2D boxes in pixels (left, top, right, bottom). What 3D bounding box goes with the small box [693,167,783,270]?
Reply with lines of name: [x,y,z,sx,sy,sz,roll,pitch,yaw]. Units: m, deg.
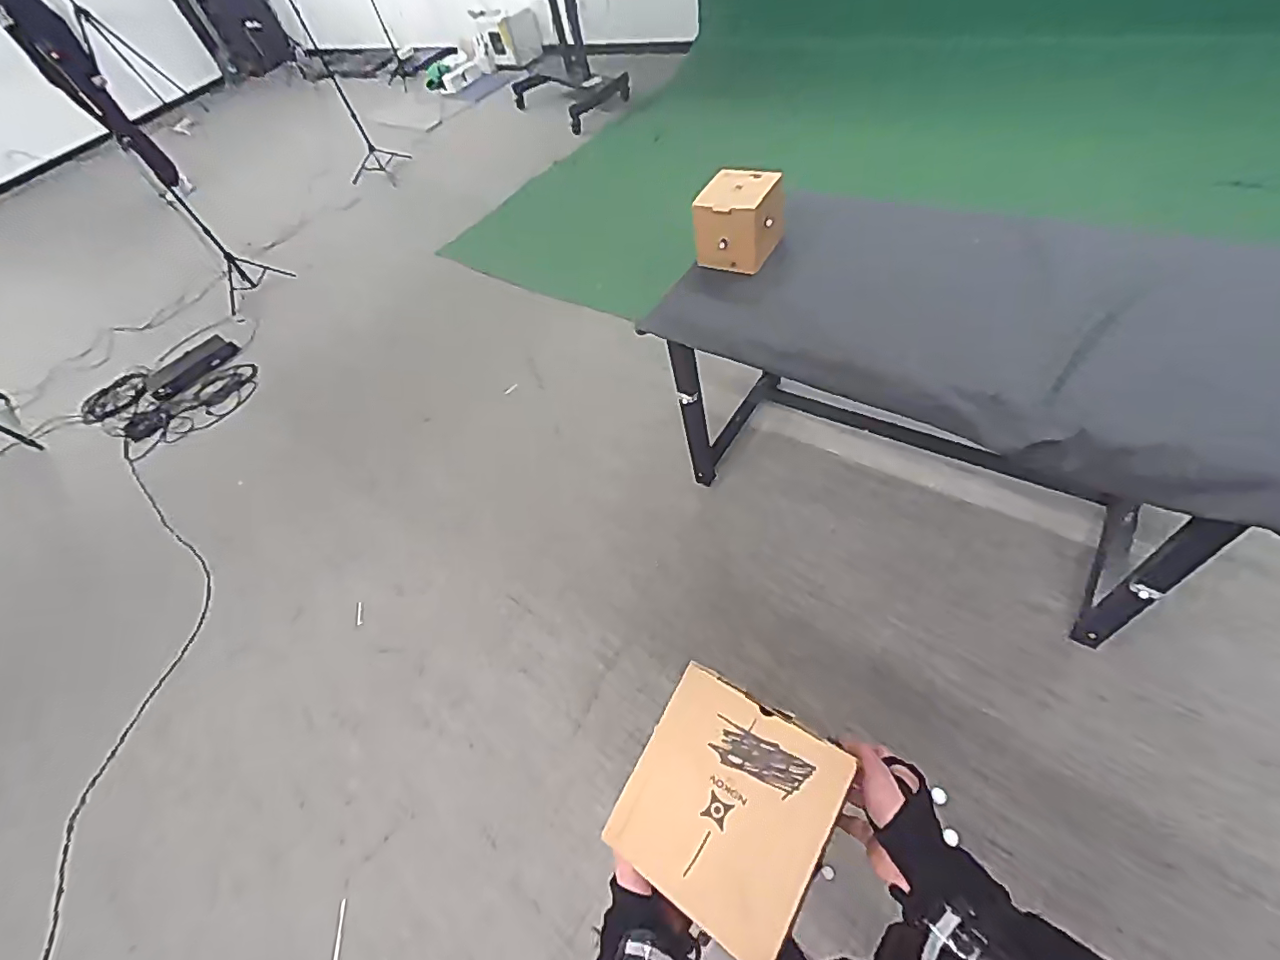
small box: [0.254,-0.657,1.364,0.168,0.176,0.179,20,62,26]
